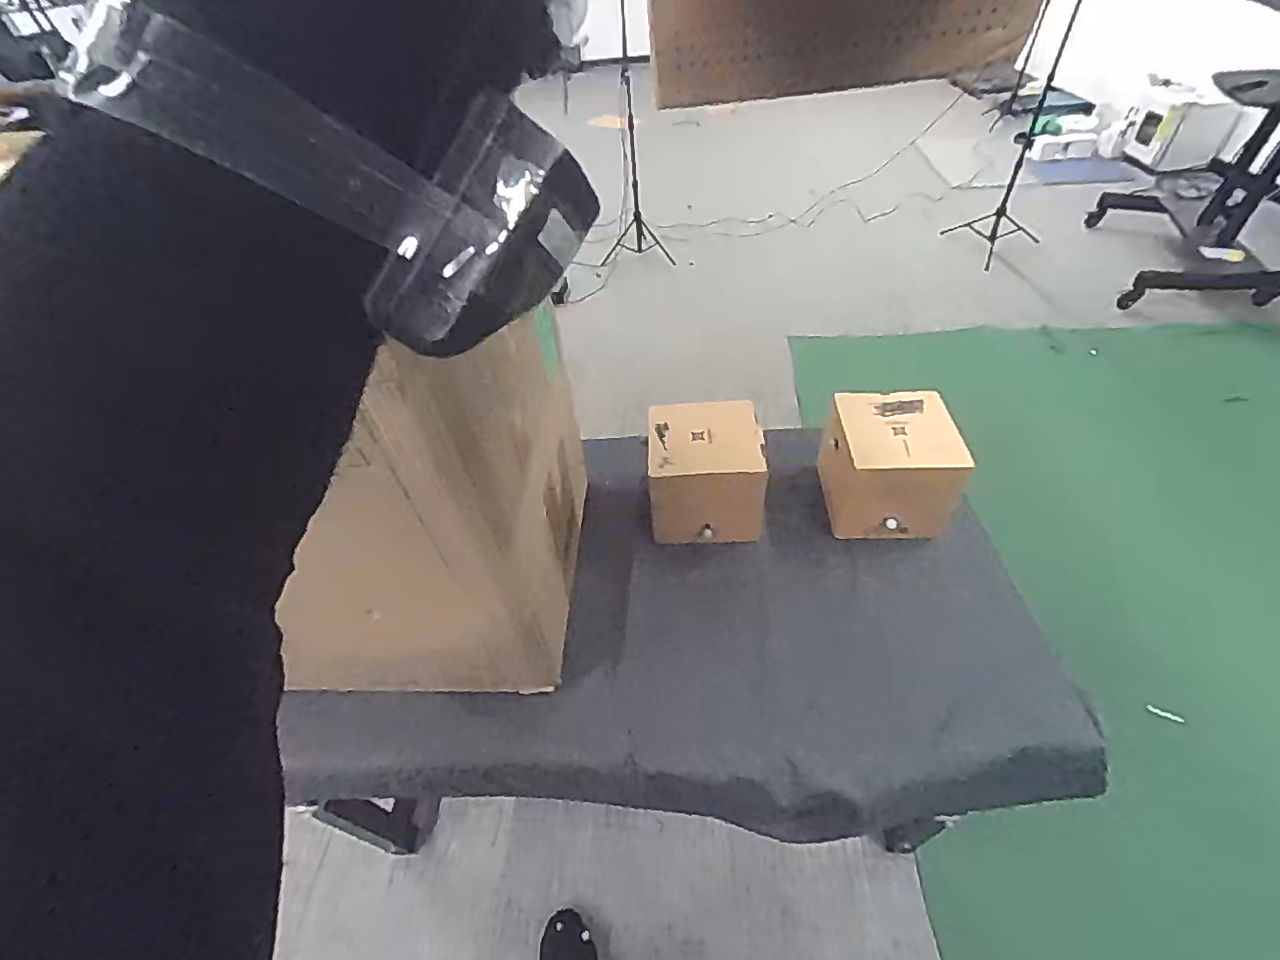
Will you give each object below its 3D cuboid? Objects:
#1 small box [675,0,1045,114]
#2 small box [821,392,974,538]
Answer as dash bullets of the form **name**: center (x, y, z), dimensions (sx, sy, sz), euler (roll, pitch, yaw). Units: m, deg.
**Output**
- **small box**: center (0.104, -0.302, 0.262), dimensions (0.179, 0.176, 0.168), euler (-1, 53, 7)
- **small box**: center (0.404, -0.025, 0.887), dimensions (0.168, 0.176, 0.179), euler (-1, 47, 6)
